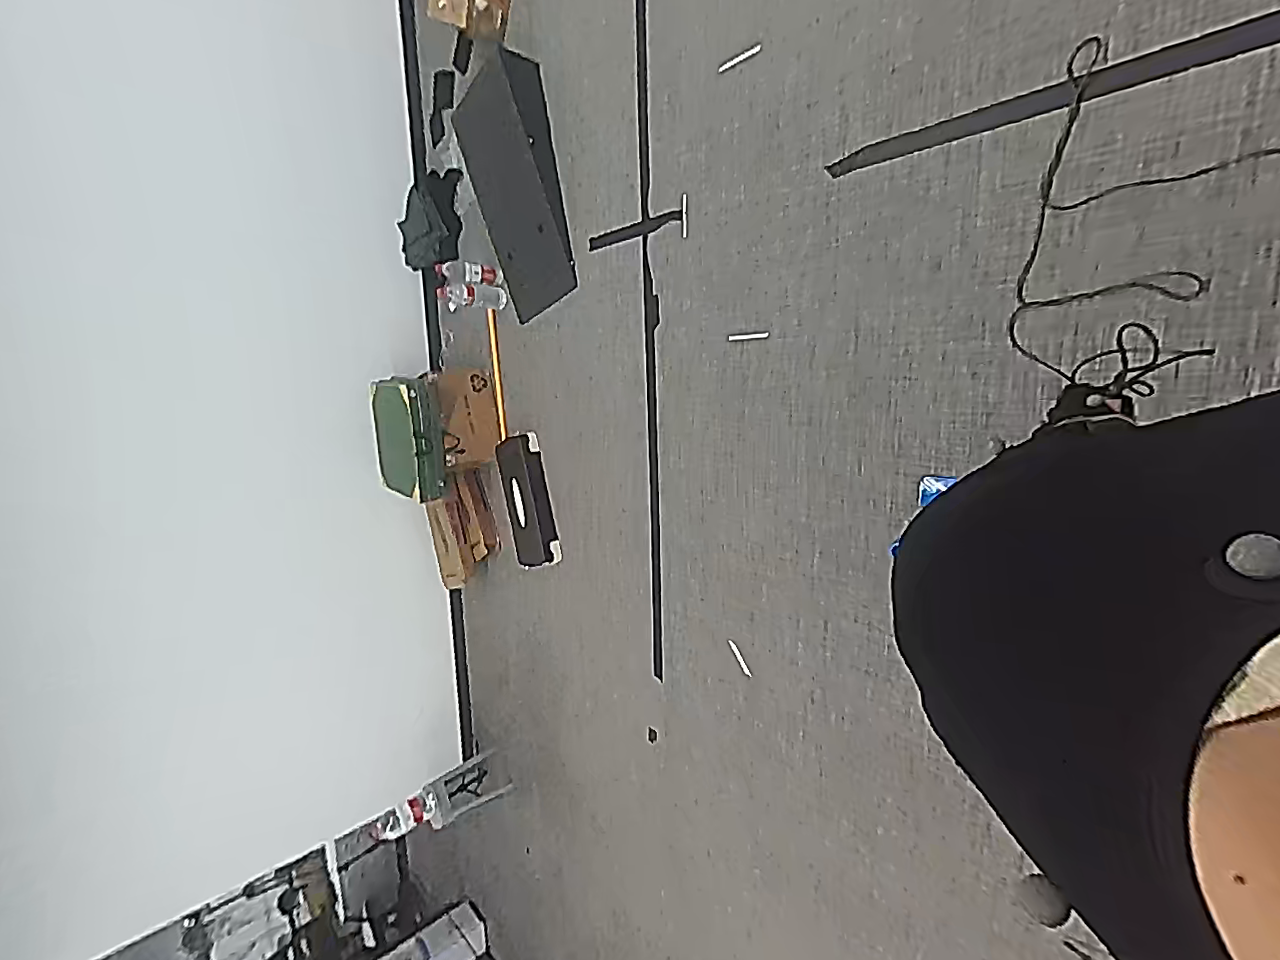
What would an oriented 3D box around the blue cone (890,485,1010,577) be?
[{"bbox_3d":[0.640,0.135,1.171,0.193,0.380,0.192,11,107,47],"label":"blue cone"}]
